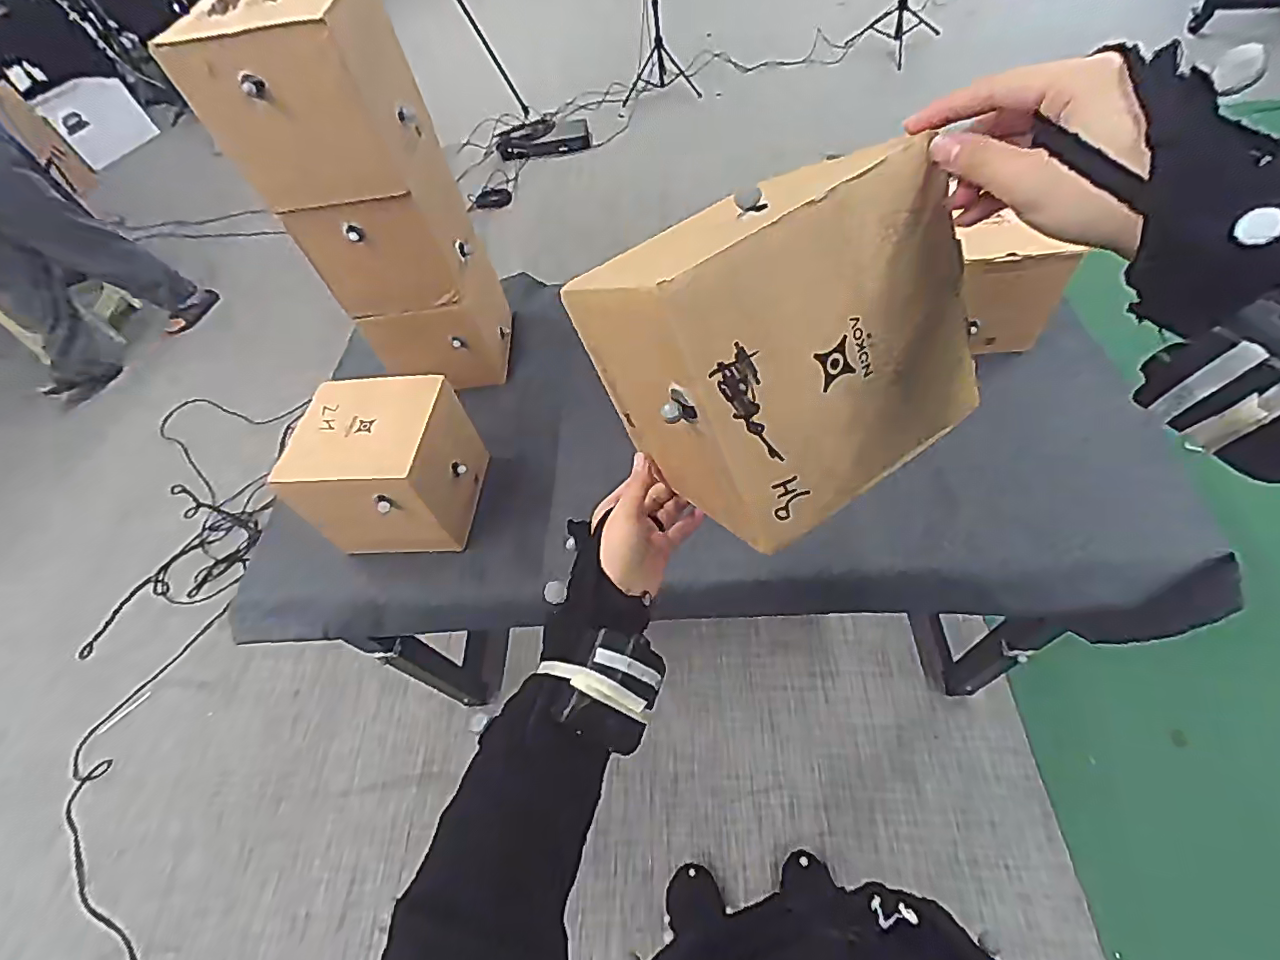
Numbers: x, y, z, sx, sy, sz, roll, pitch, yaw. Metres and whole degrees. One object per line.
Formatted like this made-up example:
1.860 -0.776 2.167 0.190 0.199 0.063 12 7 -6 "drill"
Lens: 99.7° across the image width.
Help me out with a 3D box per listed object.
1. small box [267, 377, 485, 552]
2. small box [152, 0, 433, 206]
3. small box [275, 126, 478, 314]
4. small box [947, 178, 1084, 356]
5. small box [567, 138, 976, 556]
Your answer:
-0.325 -0.015 0.712 0.179 0.176 0.168 -2 53 8 "small box"
-0.362 -0.432 0.605 0.179 0.176 0.168 -4 58 5 "small box"
-0.345 -0.350 0.748 0.179 0.176 0.168 -6 58 3 "small box"
0.474 -0.299 0.778 0.168 0.176 0.179 -2 58 8 "small box"
0.078 -0.088 0.358 0.179 0.168 0.176 -32 26 -12 "small box"
